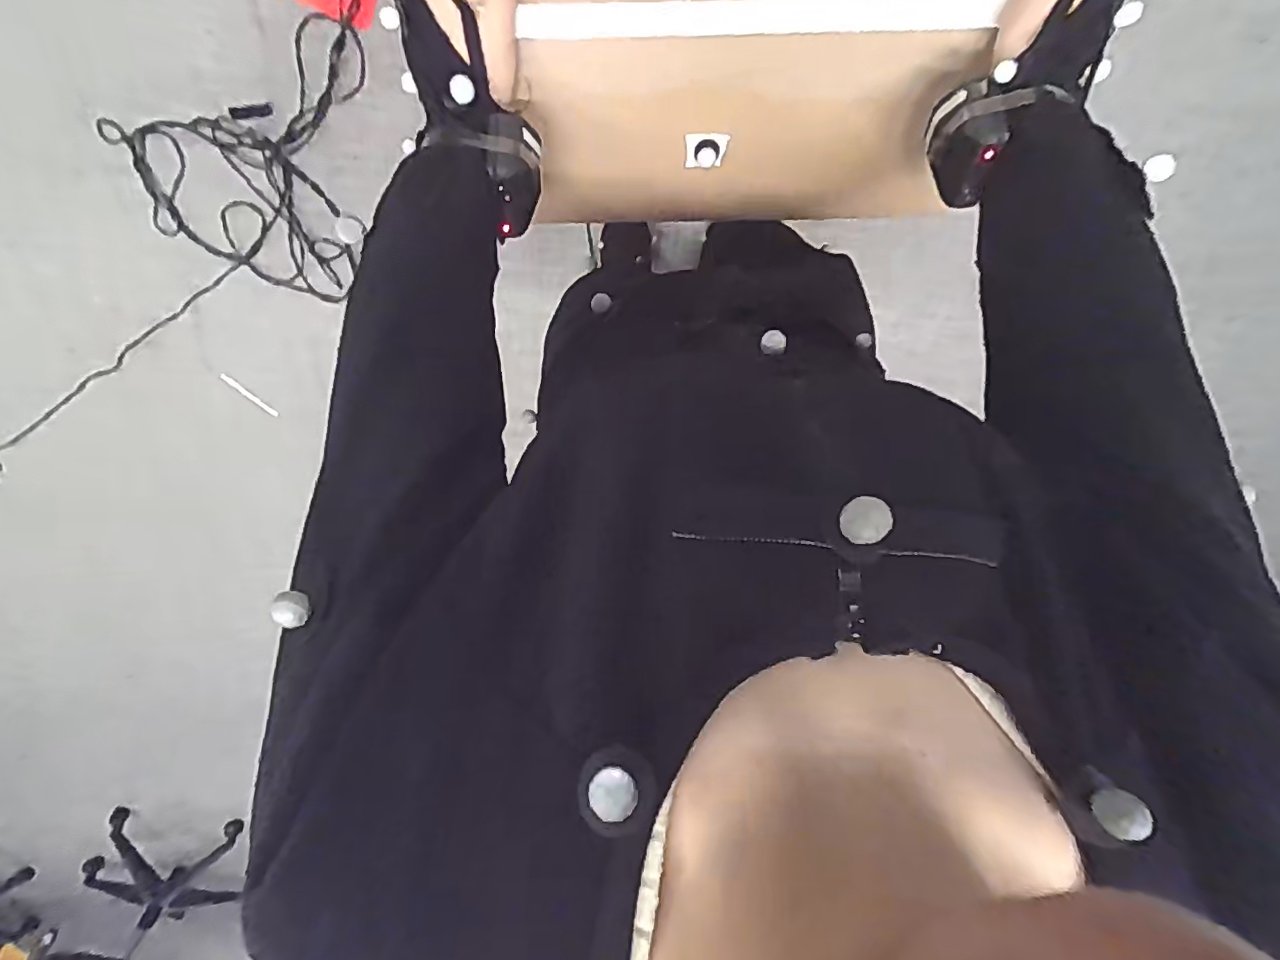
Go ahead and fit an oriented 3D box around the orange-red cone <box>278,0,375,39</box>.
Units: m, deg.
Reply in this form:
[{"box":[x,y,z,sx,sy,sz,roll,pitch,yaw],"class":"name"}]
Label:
[{"box":[-0.534,-0.830,0.768,0.199,0.360,0.198,21,112,-12],"class":"orange-red cone"}]
